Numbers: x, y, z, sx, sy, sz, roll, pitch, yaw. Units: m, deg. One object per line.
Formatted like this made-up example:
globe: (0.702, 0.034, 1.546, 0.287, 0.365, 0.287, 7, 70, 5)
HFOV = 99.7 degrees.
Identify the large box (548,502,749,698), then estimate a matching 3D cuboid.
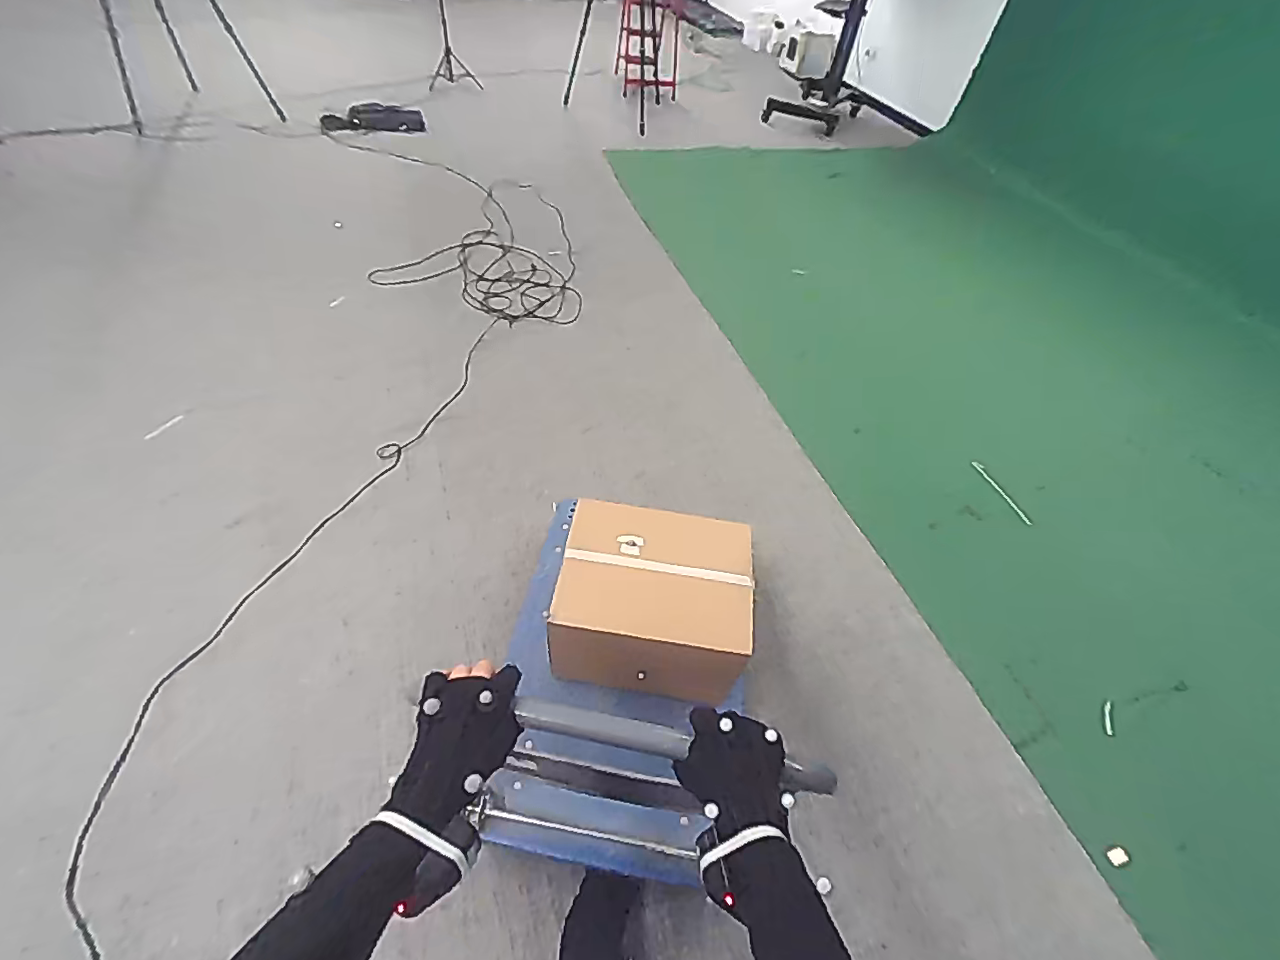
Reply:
large box: (0.022, 0.286, 1.260, 0.408, 0.320, 0.320, 8, 49, 1)
